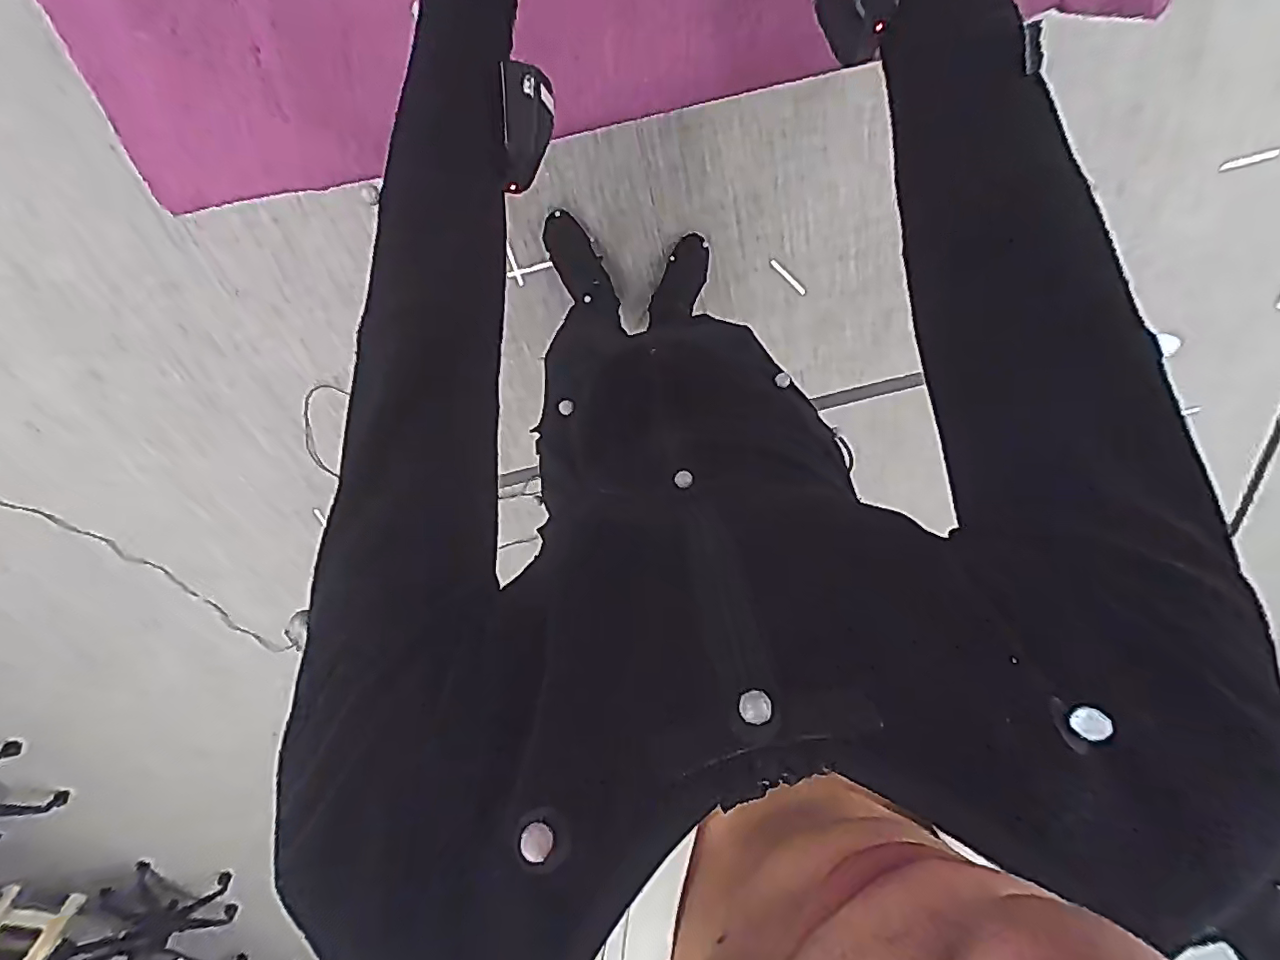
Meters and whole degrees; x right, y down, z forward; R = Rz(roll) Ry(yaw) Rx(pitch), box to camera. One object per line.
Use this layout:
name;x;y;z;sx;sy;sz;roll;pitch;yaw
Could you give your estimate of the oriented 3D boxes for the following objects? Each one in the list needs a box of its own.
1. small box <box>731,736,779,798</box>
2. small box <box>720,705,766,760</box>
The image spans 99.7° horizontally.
small box;0.503;1.264;2.383;0.179;0.176;0.168;-12;123;2
small box;0.485;1.176;2.521;0.179;0.176;0.168;-13;122;2
